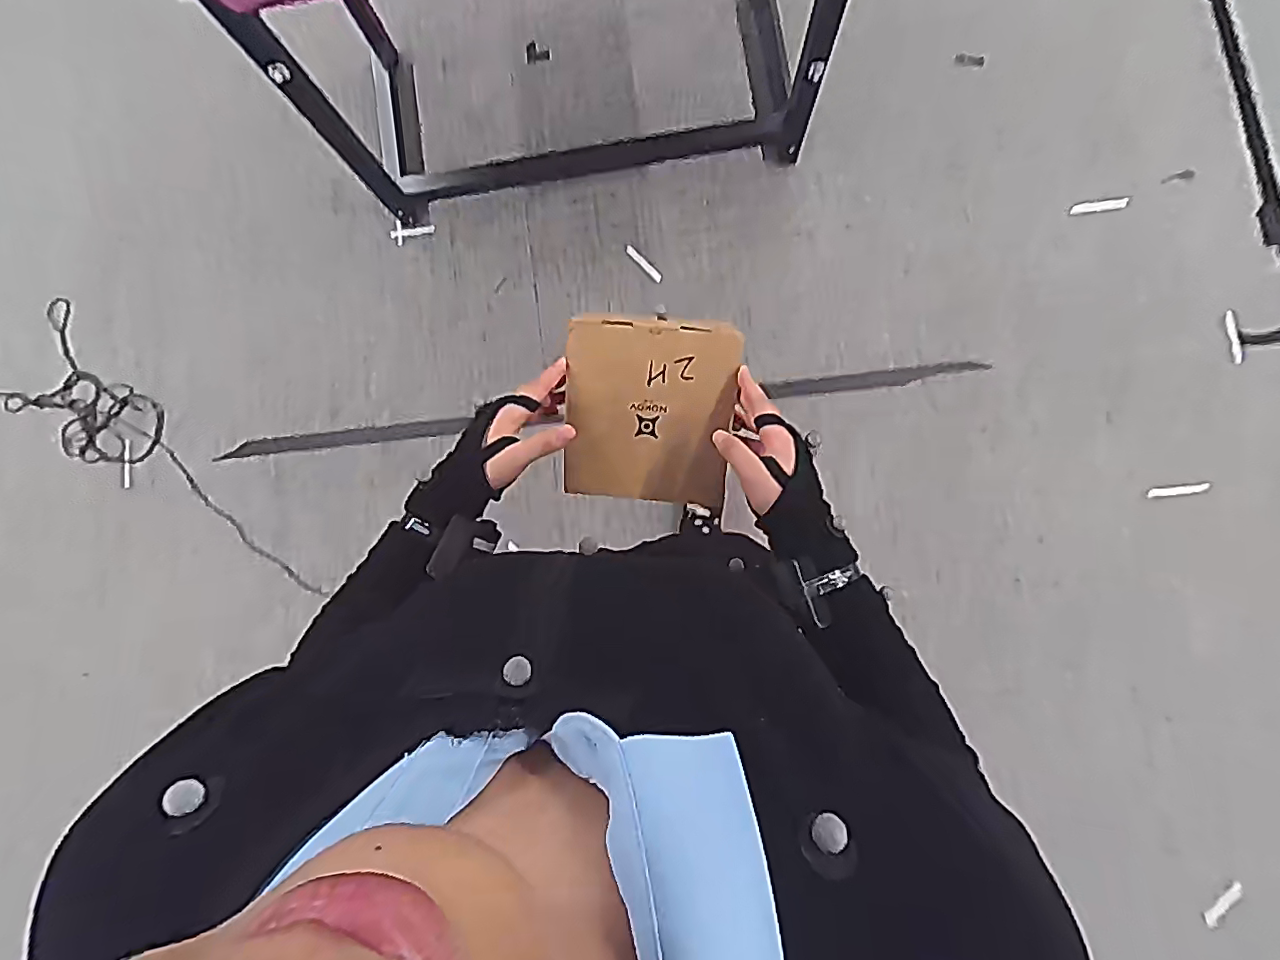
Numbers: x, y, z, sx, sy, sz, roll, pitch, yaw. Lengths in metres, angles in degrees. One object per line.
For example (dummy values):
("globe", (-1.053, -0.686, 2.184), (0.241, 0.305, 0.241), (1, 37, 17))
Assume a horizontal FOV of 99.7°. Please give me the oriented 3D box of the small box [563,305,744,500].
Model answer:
("small box", (0.014, -0.095, 0.600), (0.168, 0.176, 0.179), (5, 109, 2))
